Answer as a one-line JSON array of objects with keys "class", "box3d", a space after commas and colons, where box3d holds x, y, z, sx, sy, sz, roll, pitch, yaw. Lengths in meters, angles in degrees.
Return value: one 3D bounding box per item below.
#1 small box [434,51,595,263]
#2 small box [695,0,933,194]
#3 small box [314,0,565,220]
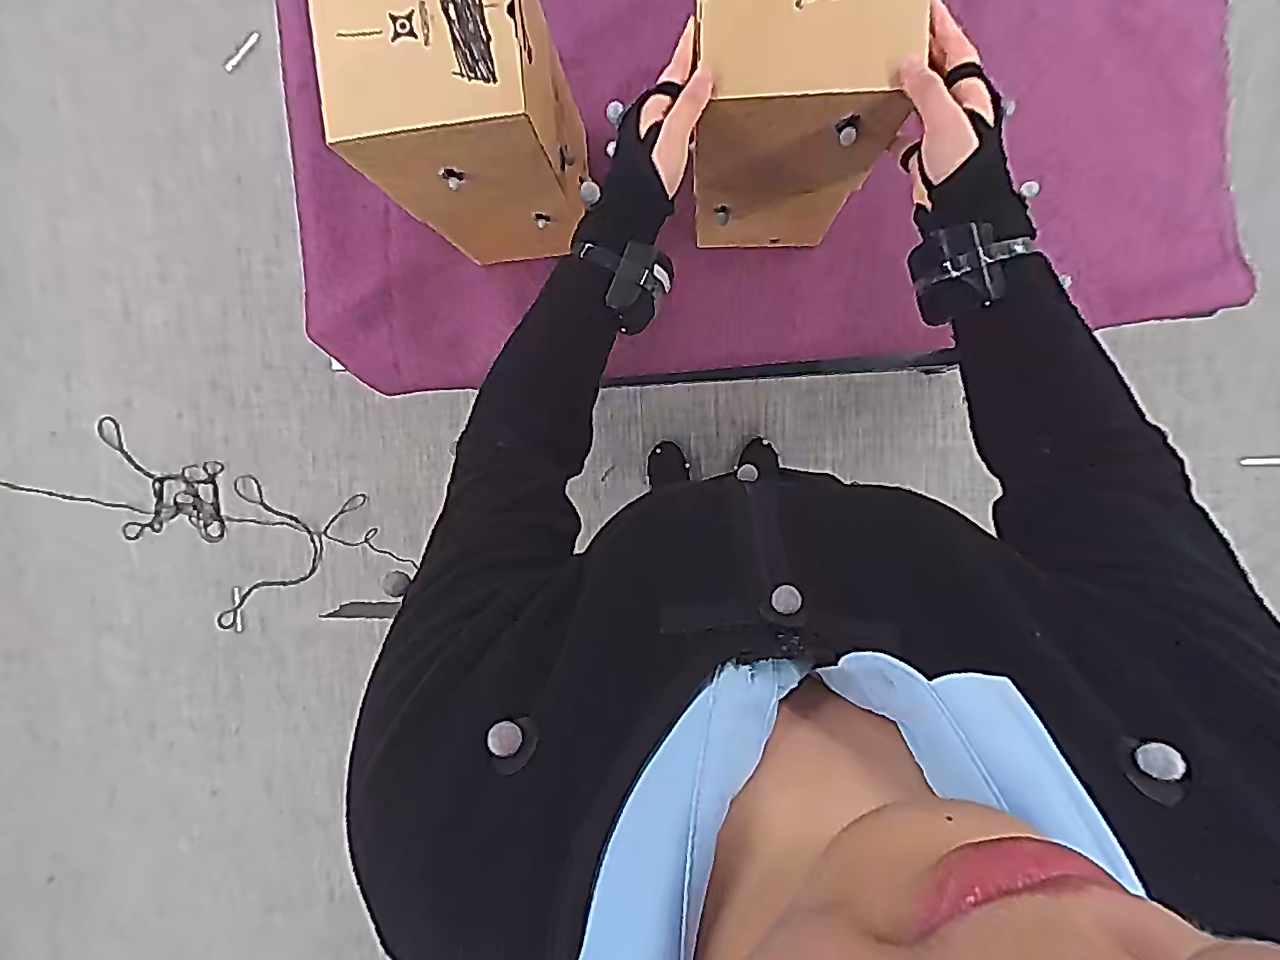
[{"class": "small box", "box3d": [-0.162, -0.390, 0.686, 0.179, 0.176, 0.168, -5, 94, 5]}, {"class": "small box", "box3d": [0.141, -0.382, 0.492, 0.179, 0.176, 0.168, 1, 94, 5]}, {"class": "small box", "box3d": [-0.174, -0.374, 0.523, 0.179, 0.176, 0.168, -5, 93, 6]}]
